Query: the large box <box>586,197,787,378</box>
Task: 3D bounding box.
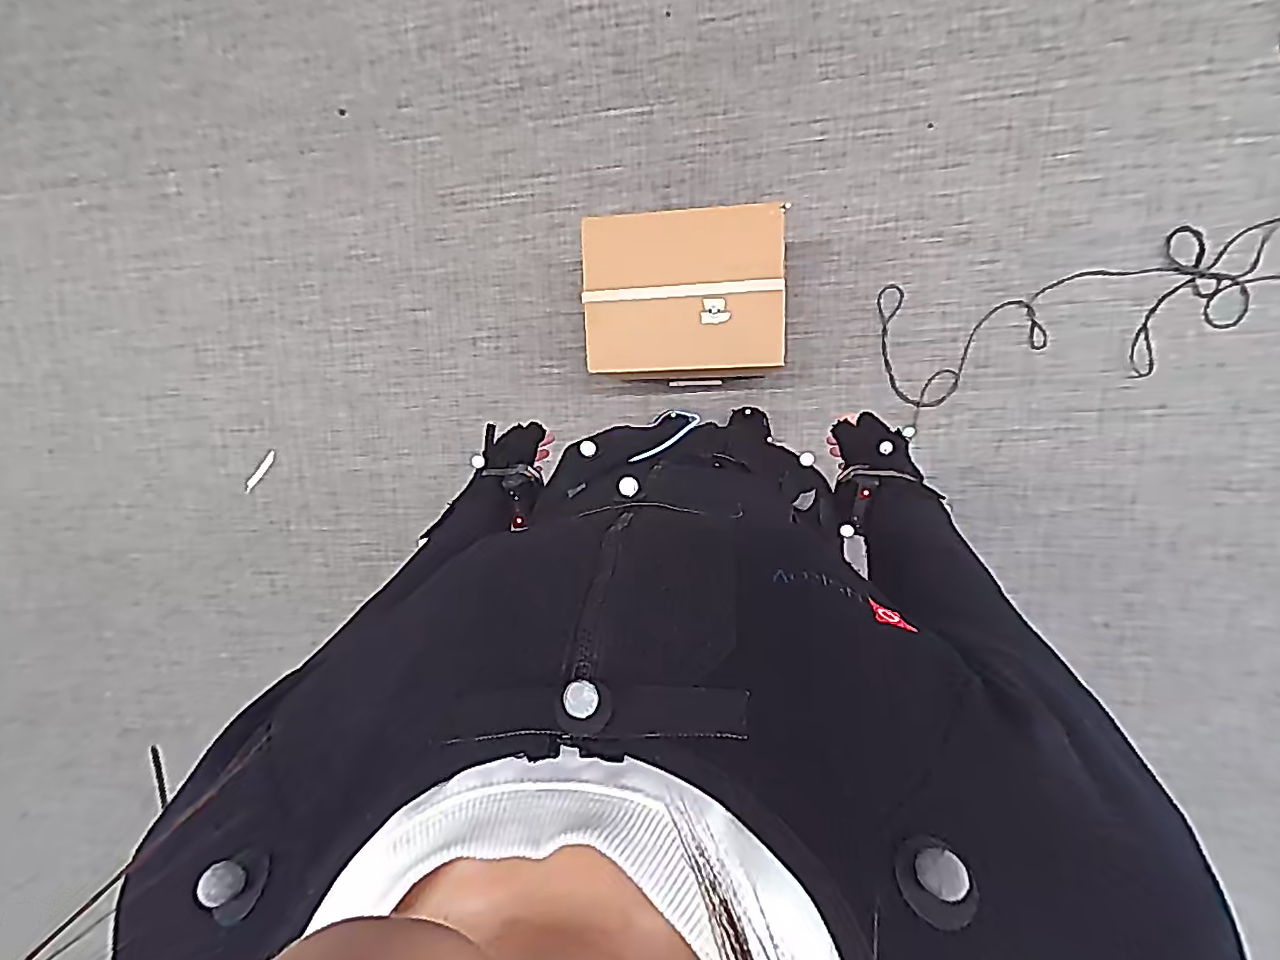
[{"bbox_3d":[0.110,-0.408,1.234,0.408,0.320,0.320,-1,98,8],"label":"large box"}]
